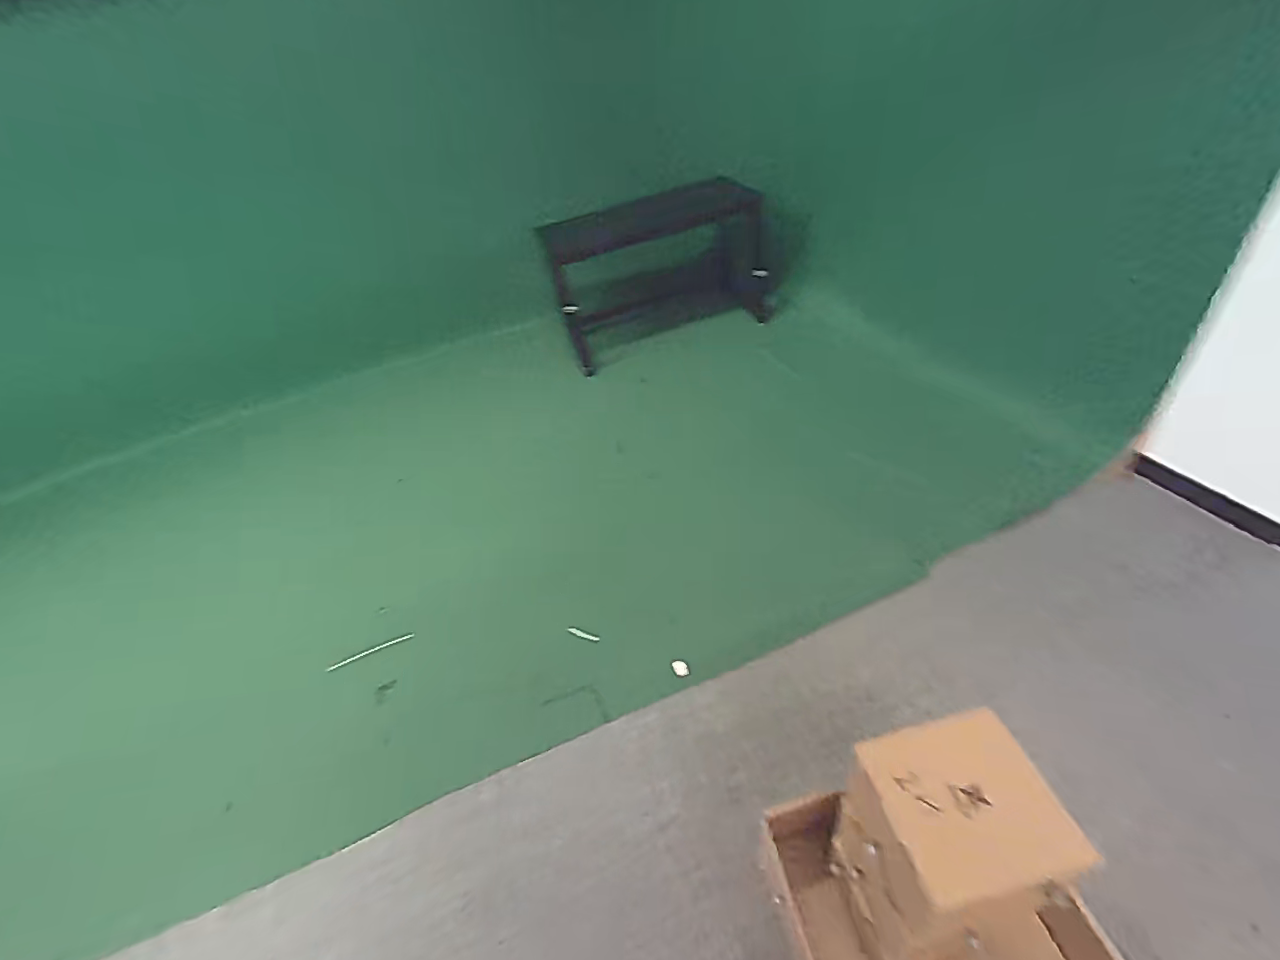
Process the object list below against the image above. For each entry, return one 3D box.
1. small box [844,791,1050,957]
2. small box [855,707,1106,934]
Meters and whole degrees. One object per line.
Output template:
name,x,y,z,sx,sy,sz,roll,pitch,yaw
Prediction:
small box,0.402,0.526,0.748,0.179,0.176,0.168,-16,41,-1
small box,0.376,0.403,0.640,0.179,0.176,0.168,-15,40,-1
